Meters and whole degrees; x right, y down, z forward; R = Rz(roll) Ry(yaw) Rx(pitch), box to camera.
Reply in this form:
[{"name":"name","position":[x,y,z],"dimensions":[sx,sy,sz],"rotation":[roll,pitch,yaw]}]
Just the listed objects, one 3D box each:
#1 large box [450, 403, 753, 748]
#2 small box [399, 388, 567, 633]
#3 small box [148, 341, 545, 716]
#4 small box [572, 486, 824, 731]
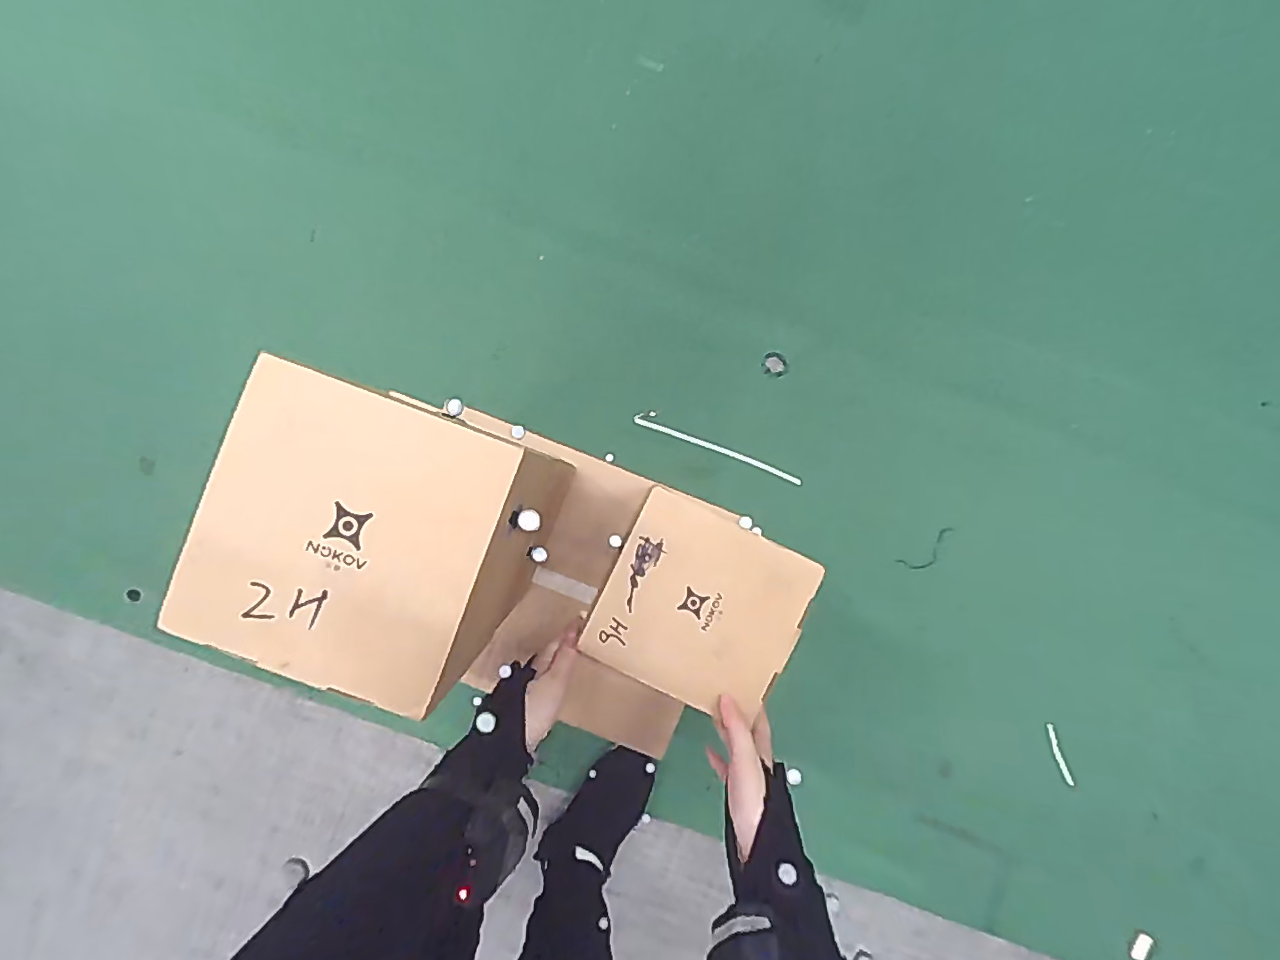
[{"name":"large box","position":[-0.105,0.118,0.799],"dimensions":[0.408,0.320,0.320],"rotation":[21,89,-1]},{"name":"small box","position":[-0.182,0.029,0.557],"dimensions":[0.168,0.176,0.179],"rotation":[22,88,-1]},{"name":"small box","position":[-0.177,0.029,0.392],"dimensions":[0.168,0.176,0.179],"rotation":[21,88,-1]},{"name":"small box","position":[0.052,0.115,0.558],"dimensions":[0.179,0.176,0.168],"rotation":[26,88,1]}]
